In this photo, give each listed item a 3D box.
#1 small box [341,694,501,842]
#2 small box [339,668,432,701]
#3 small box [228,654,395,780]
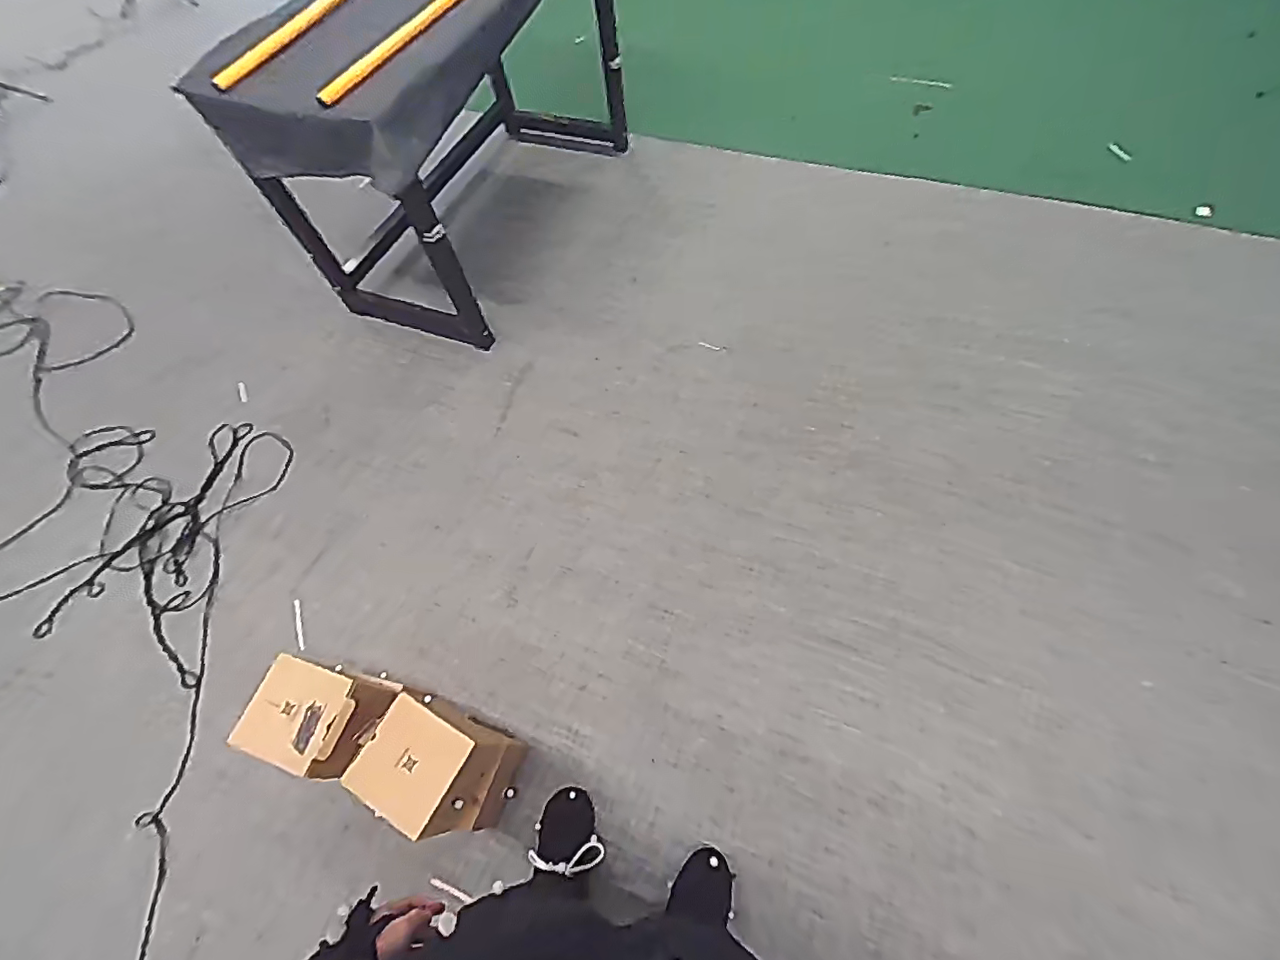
[{"bbox_3d":[-0.382,0.512,0.980,0.179,0.176,0.168,24,67,17],"label":"small box"},{"bbox_3d":[-0.582,0.528,1.174,0.168,0.176,0.179,9,63,11],"label":"small box"},{"bbox_3d":[-0.608,0.451,1.029,0.179,0.176,0.168,14,63,14],"label":"small box"}]
